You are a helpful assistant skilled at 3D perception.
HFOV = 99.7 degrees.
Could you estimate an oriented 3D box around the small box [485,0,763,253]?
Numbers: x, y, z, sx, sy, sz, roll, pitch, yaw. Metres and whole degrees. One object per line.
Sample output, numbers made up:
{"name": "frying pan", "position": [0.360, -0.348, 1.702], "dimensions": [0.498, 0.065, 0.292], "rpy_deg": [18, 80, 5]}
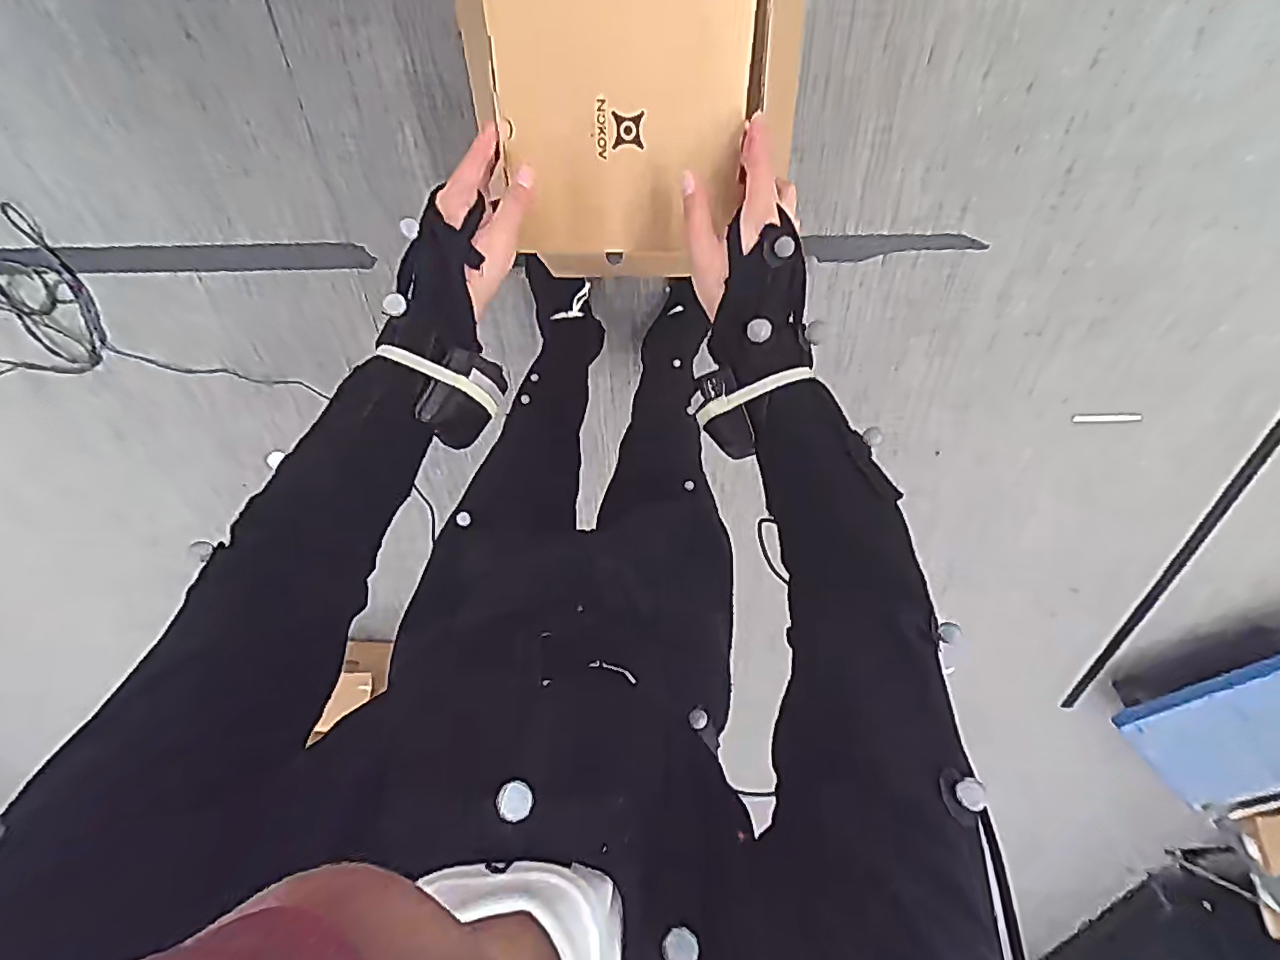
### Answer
{"name": "small box", "position": [-0.012, -0.293, 0.442], "dimensions": [0.179, 0.176, 0.168], "rpy_deg": [0, 126, -1]}
